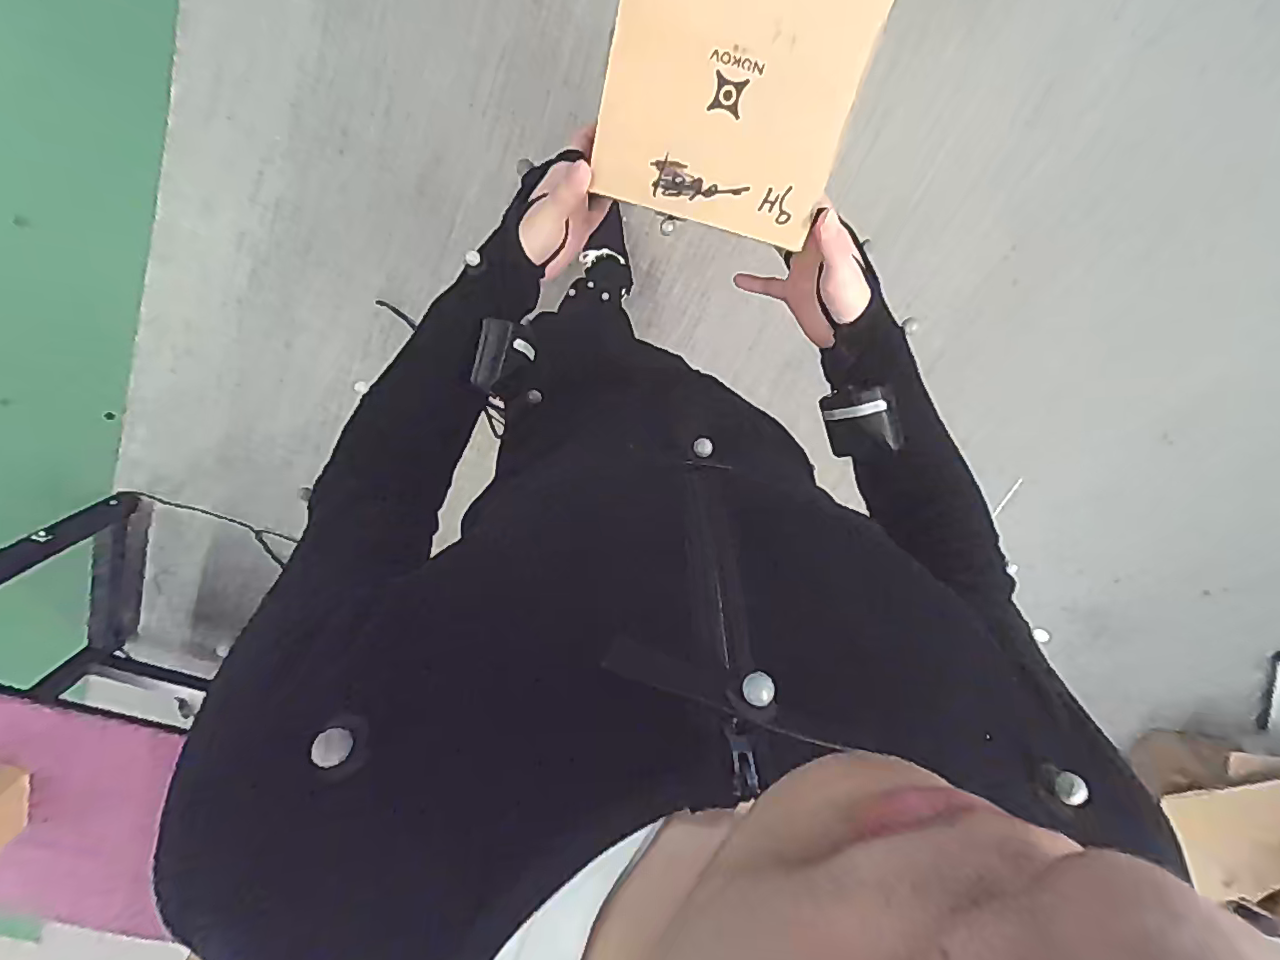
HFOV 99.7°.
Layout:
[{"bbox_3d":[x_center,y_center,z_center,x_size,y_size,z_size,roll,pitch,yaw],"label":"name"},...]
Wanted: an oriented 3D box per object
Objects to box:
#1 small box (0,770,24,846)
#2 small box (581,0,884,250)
[{"bbox_3d":[-1.254,0.622,0.946,0.168,0.176,0.179,24,108,-14],"label":"small box"},{"bbox_3d":[0.060,-0.299,0.429,0.168,0.176,0.179,15,116,-4],"label":"small box"}]
